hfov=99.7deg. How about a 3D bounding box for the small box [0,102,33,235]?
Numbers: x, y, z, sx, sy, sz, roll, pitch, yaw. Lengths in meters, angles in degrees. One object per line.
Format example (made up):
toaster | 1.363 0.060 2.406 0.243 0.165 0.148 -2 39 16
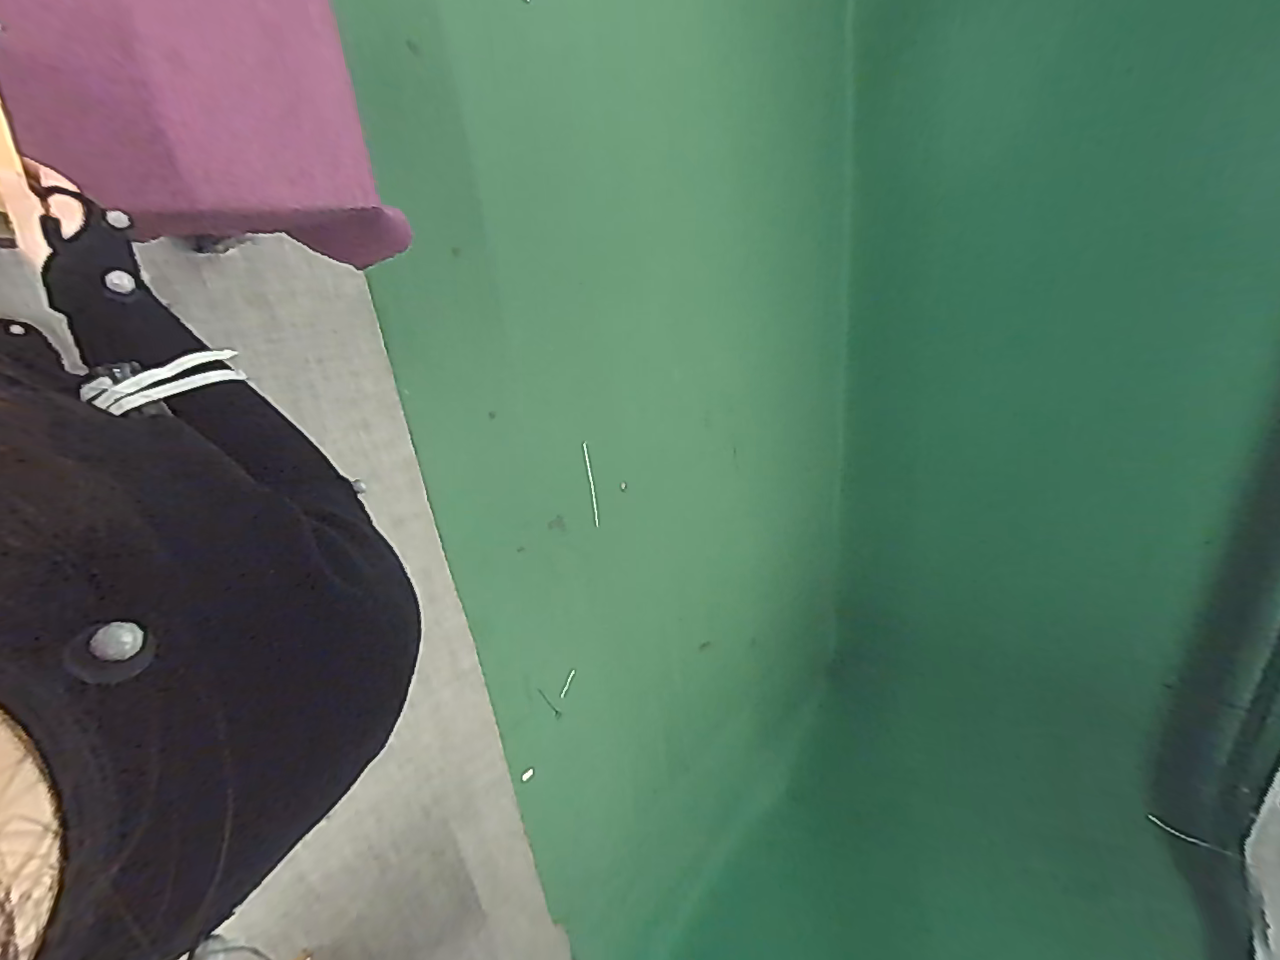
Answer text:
small box | -0.575 -0.280 0.382 0.168 0.176 0.179 -21 114 -44
